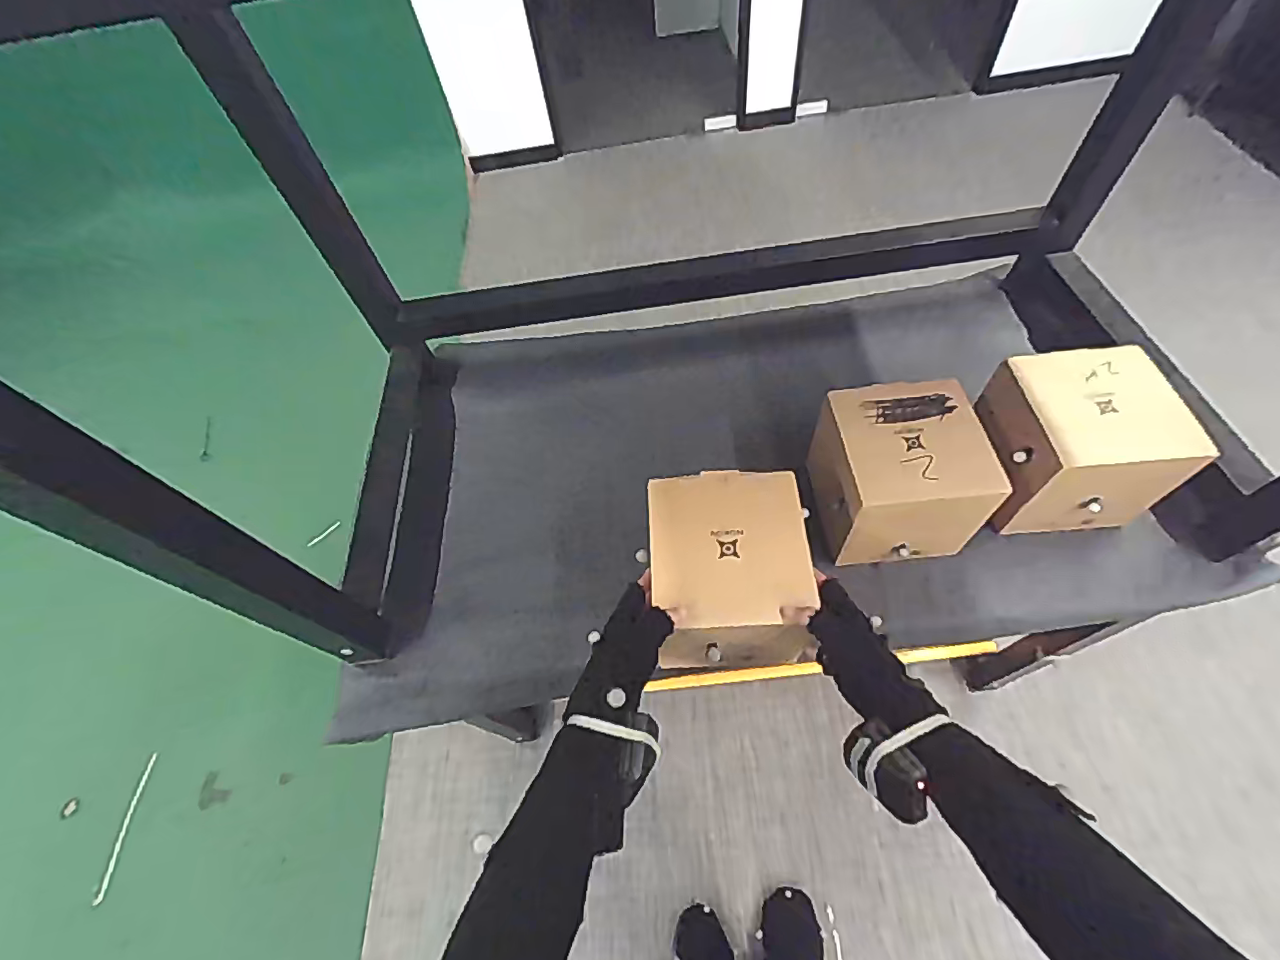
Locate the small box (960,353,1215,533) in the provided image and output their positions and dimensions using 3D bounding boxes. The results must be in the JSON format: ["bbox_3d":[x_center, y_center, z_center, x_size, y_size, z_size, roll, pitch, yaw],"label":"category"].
[{"bbox_3d":[0.559,-0.039,0.710,0.168,0.176,0.179,-4,56,5],"label":"small box"}]
